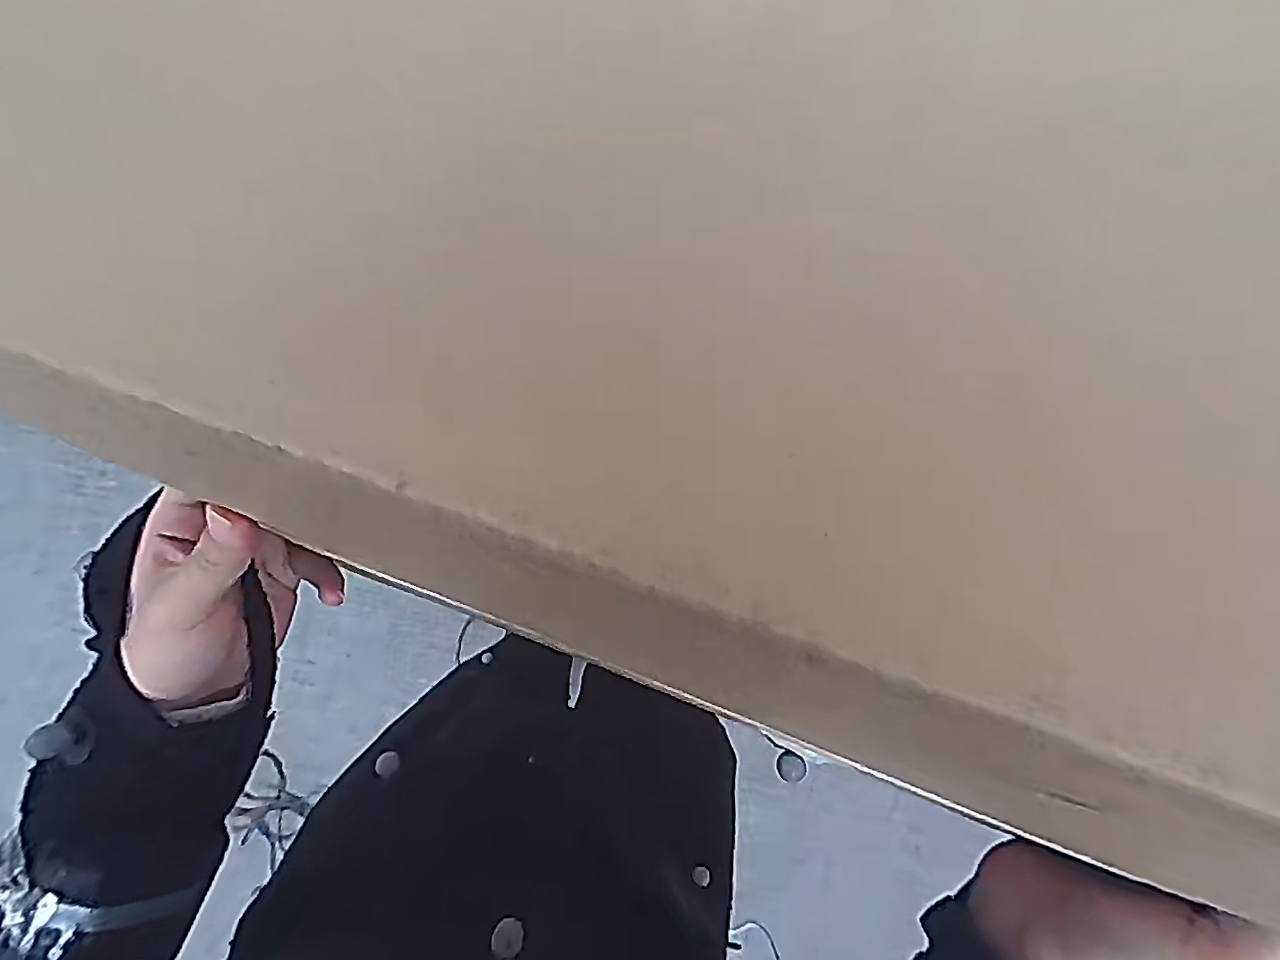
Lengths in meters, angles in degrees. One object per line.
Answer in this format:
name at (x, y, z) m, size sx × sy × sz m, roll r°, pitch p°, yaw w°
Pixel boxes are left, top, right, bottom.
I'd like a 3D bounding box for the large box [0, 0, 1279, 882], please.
large box at (0.065, -0.069, 0.264) m, size 0.408 × 0.320 × 0.320 m, roll 18°, pitch 70°, yaw 7°
